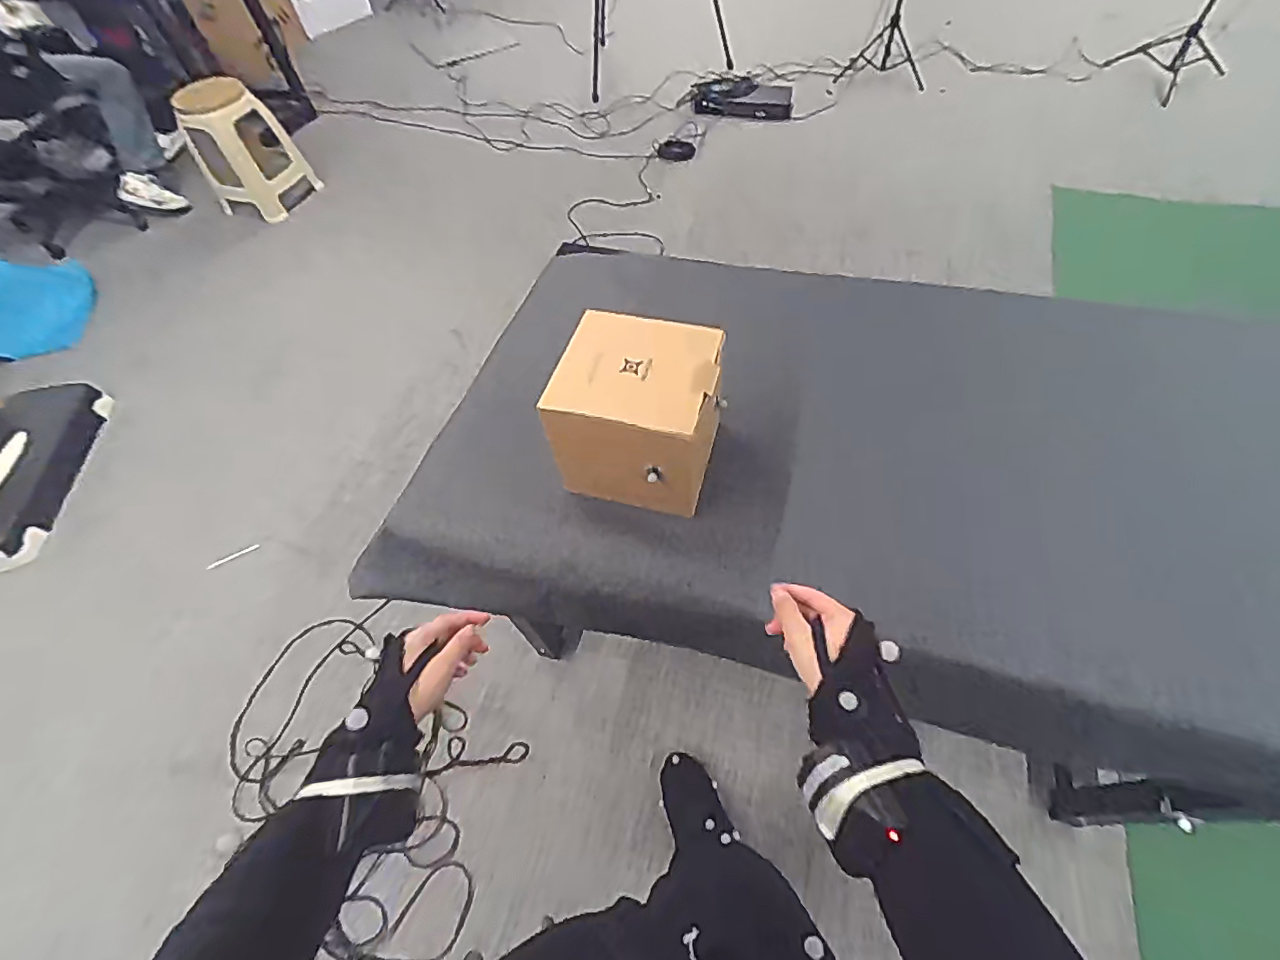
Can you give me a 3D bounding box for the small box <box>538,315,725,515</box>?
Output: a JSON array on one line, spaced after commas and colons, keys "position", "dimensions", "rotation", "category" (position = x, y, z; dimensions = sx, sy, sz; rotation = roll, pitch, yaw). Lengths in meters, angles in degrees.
[{"position": [0.001, -0.075, 0.669], "dimensions": [0.179, 0.176, 0.168], "rotation": [11, 56, 13], "category": "small box"}]
